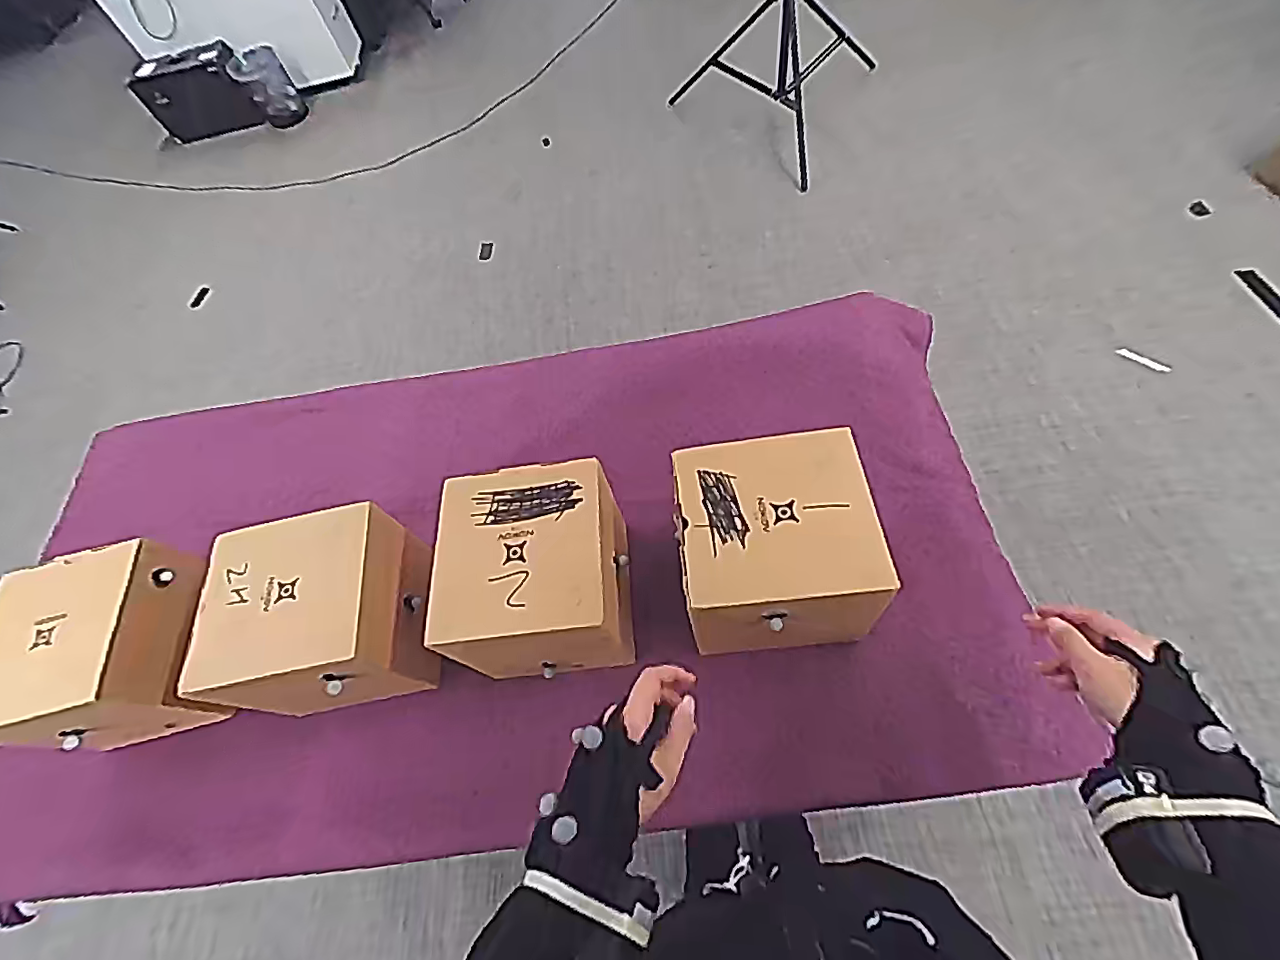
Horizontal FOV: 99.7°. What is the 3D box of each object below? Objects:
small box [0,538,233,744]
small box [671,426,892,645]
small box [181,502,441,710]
[{"bbox_3d":[-0.591,0.194,0.623,0.168,0.176,0.179,-15,59,1],"label":"small box"},{"bbox_3d":[0.132,0.067,0.560,0.179,0.176,0.168,-6,59,5],"label":"small box"},{"bbox_3d":[-0.340,0.148,0.602,0.179,0.176,0.168,-13,59,3],"label":"small box"}]
